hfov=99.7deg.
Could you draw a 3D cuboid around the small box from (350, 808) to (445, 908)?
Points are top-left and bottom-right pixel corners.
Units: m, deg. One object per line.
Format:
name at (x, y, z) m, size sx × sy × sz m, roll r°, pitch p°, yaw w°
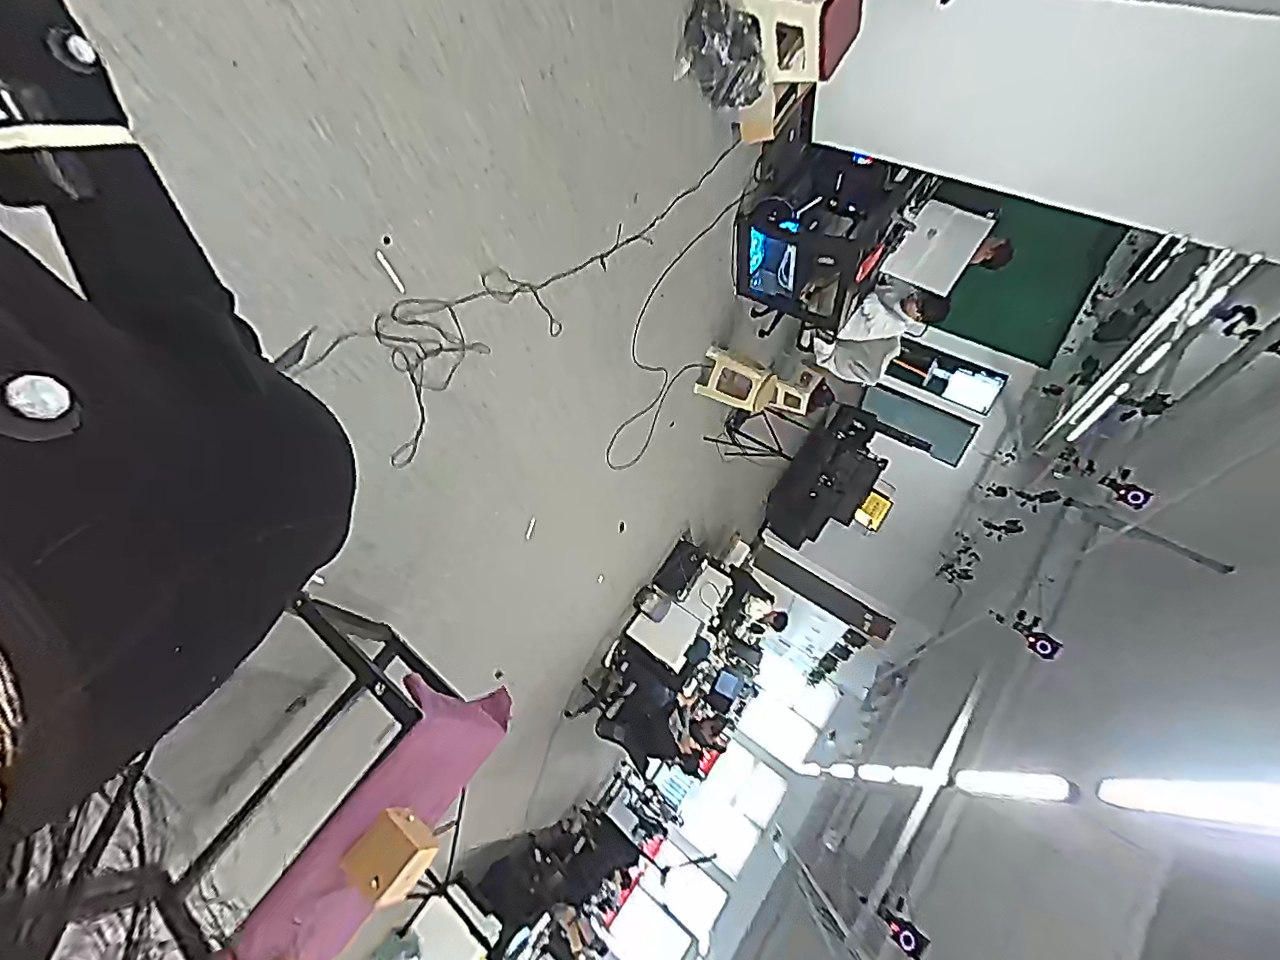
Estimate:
small box at (-0.729, 1.120, 1.617) m, size 0.179 × 0.176 × 0.168 m, roll -50°, pitch 156°, yaw -21°
